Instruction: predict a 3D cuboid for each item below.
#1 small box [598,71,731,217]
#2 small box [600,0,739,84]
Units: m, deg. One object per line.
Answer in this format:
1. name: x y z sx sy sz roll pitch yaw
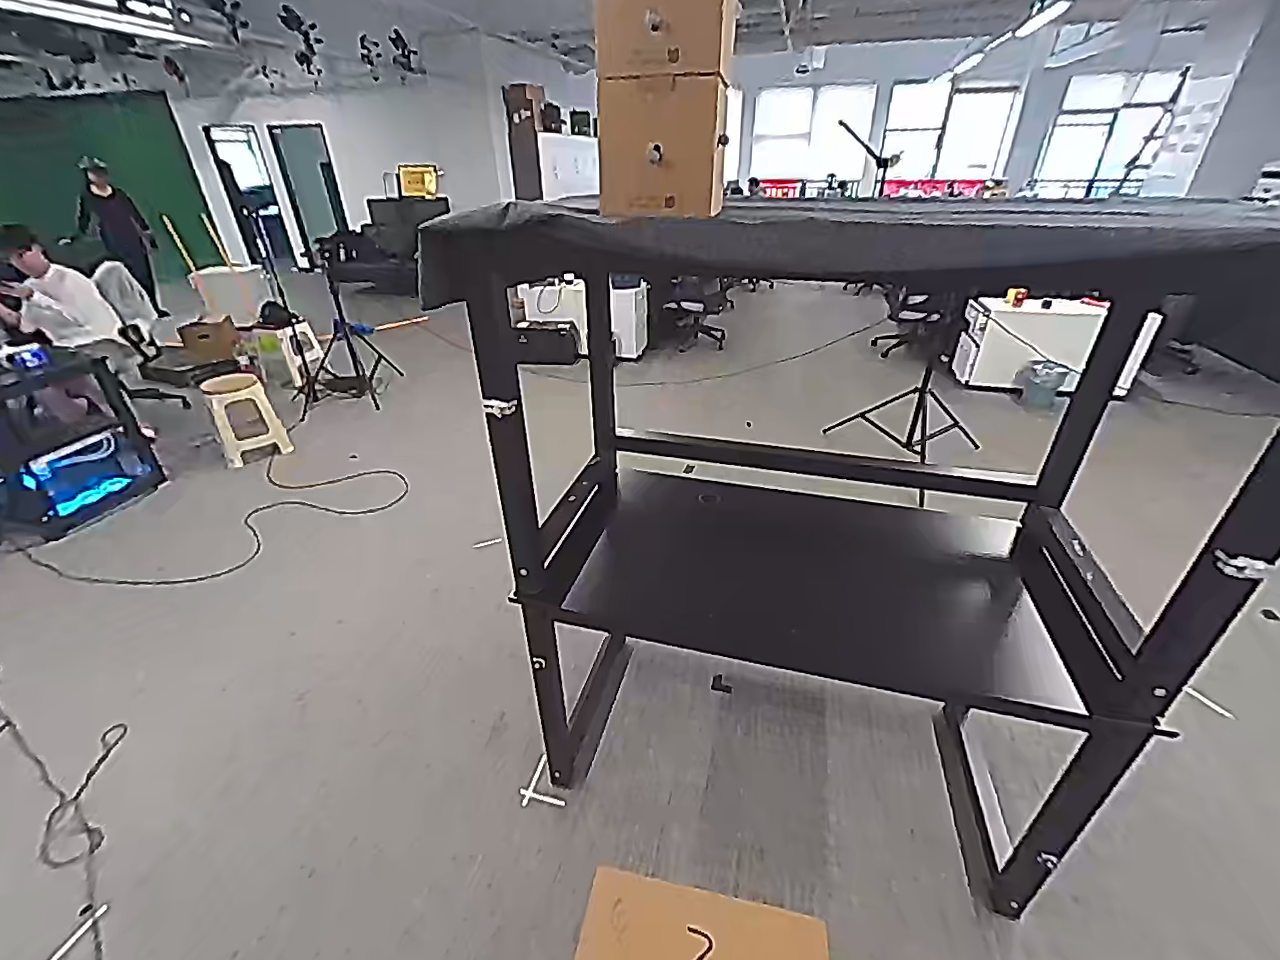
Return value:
1. small box: 0.042 -0.491 0.806 0.168 0.176 0.179 6 30 10
2. small box: 0.044 -0.636 0.727 0.168 0.176 0.179 5 30 11
